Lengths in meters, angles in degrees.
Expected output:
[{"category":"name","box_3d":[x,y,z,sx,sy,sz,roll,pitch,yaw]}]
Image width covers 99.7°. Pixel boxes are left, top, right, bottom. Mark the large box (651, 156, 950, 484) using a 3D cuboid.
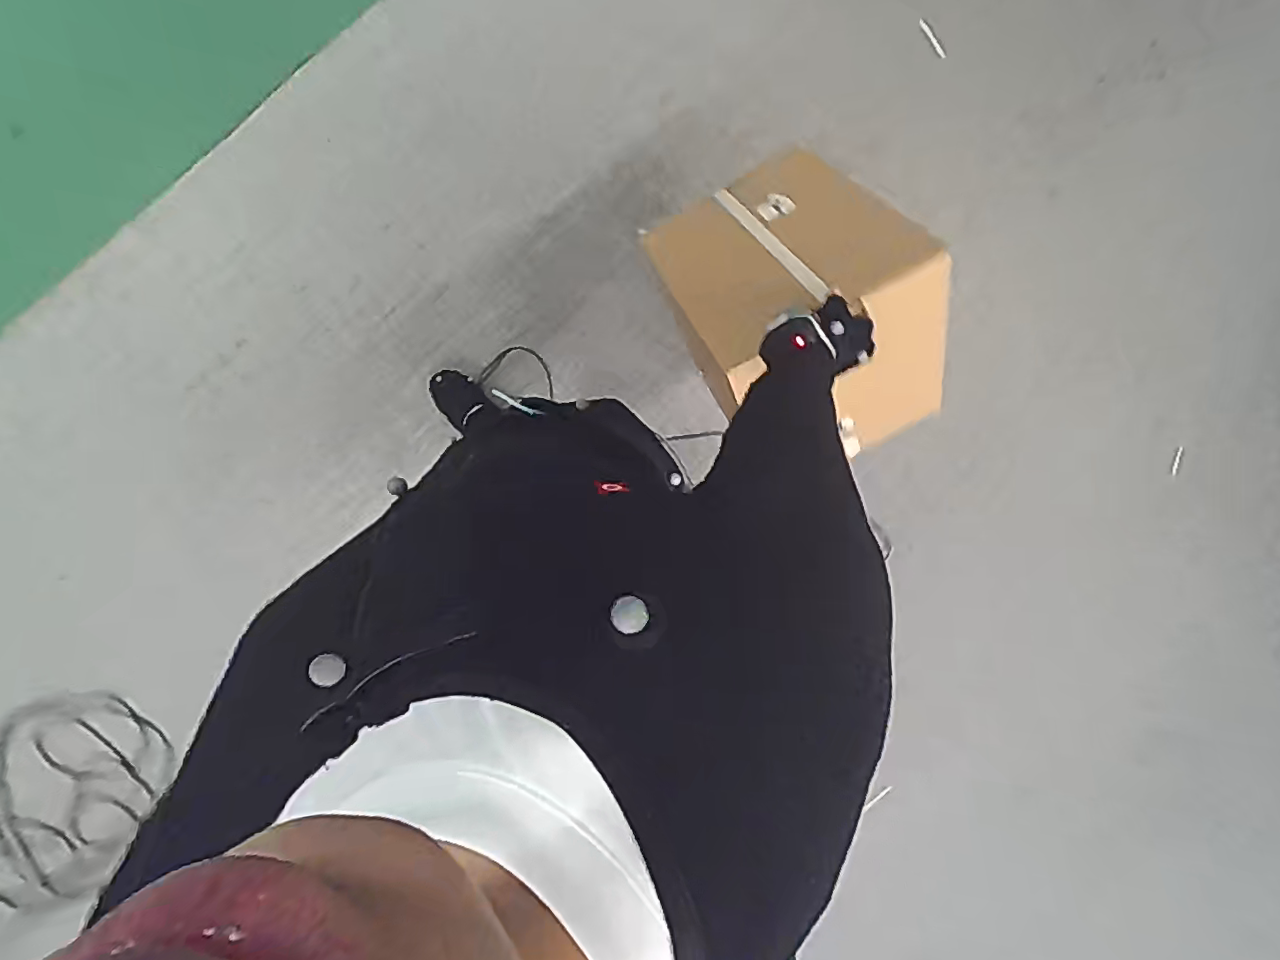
[{"category":"large box","box_3d":[0.264,-0.273,0.935,0.320,0.408,0.320,-26,139,7]}]
